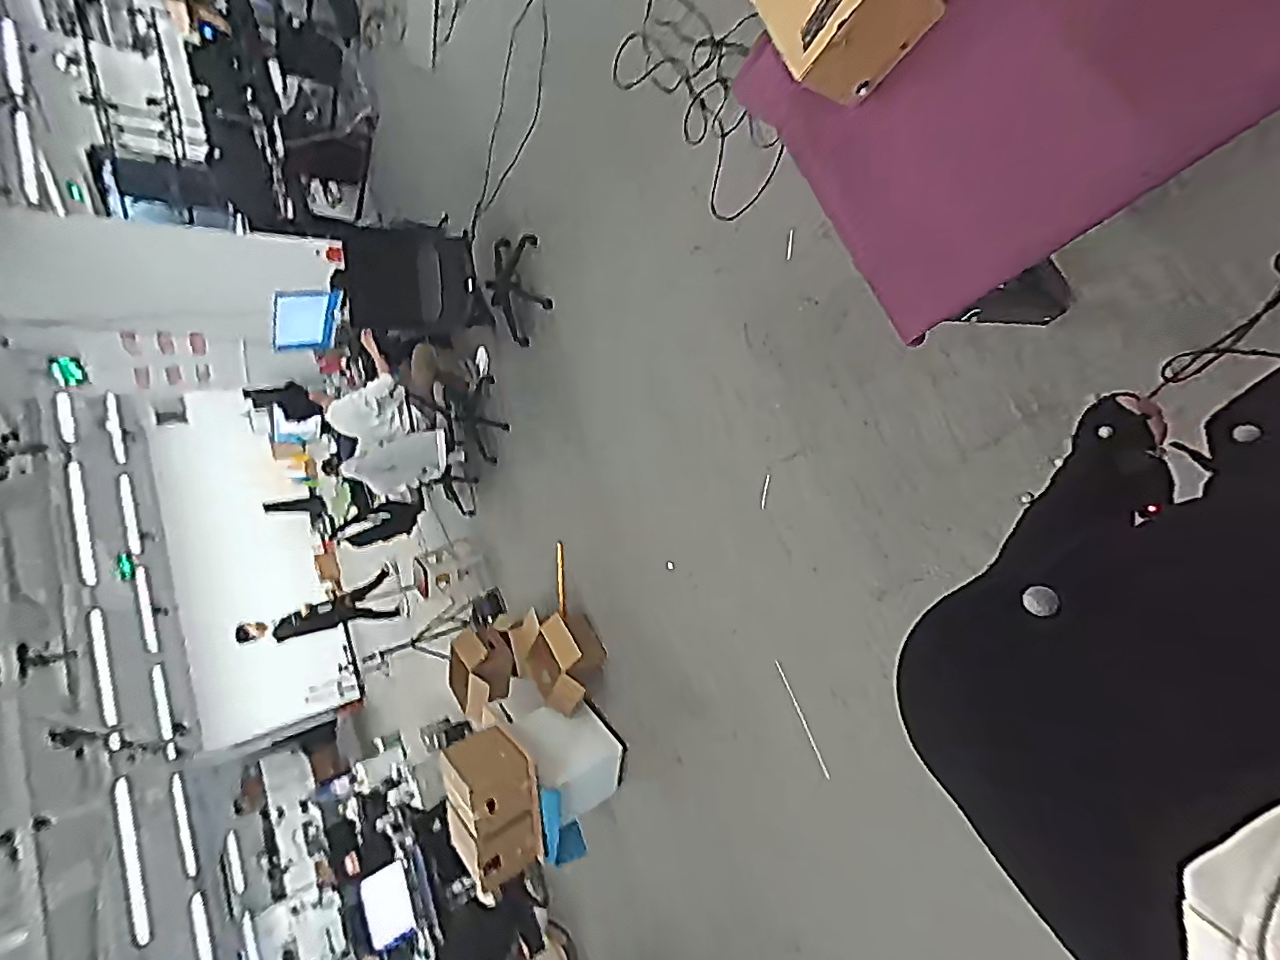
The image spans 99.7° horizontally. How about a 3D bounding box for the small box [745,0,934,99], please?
[{"bbox_3d":[0.297,-0.710,0.805,0.168,0.176,0.179,-36,73,49],"label":"small box"}]
